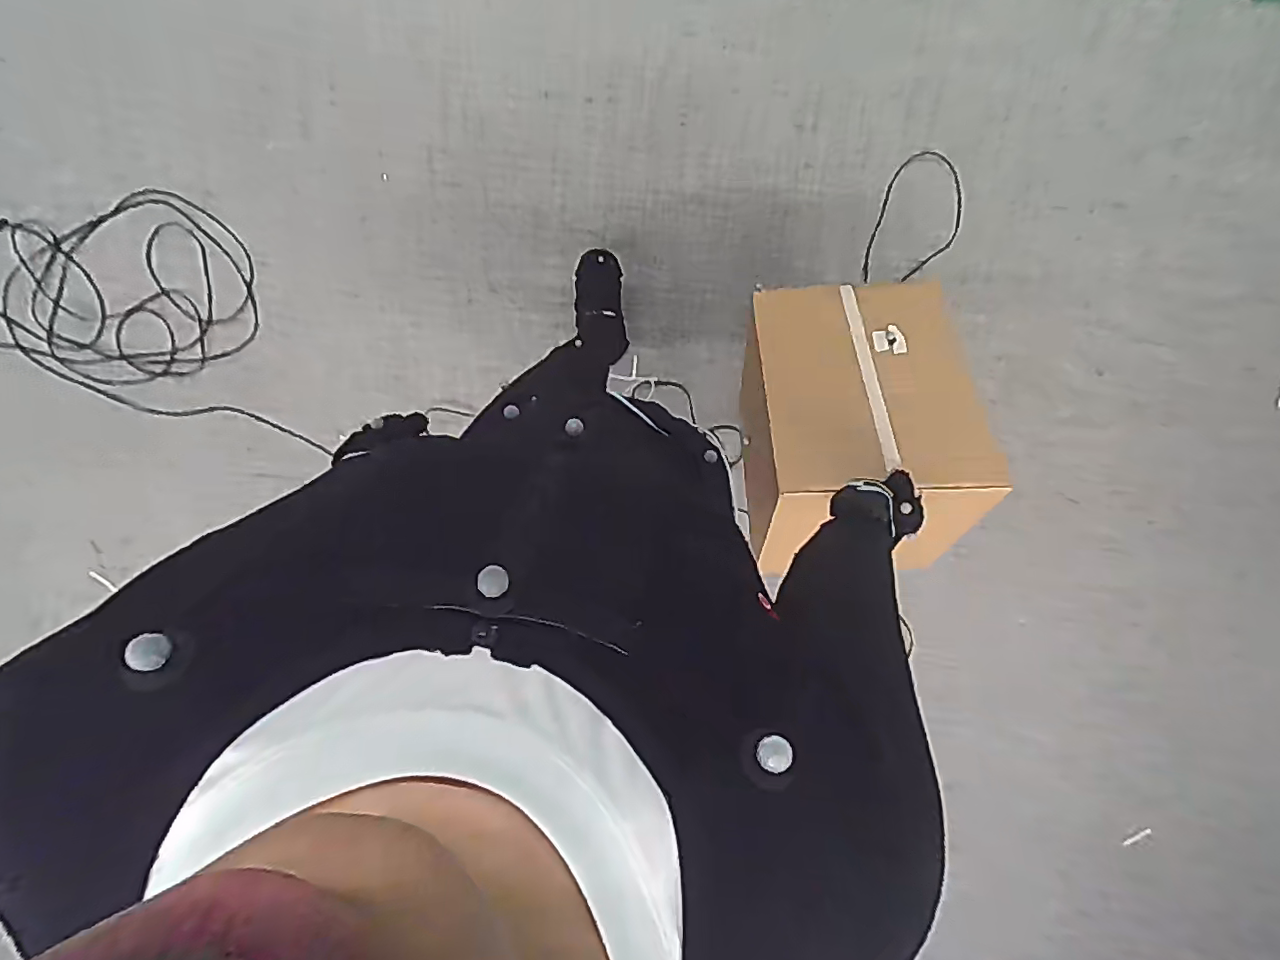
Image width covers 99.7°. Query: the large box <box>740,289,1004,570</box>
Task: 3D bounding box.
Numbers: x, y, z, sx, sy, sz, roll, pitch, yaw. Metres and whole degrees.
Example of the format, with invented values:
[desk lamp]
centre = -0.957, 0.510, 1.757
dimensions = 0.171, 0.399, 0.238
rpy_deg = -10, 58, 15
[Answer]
[large box]
centre = 0.361, -0.081, 0.978
dimensions = 0.320, 0.320, 0.408
rpy_deg = -1, 59, 3
